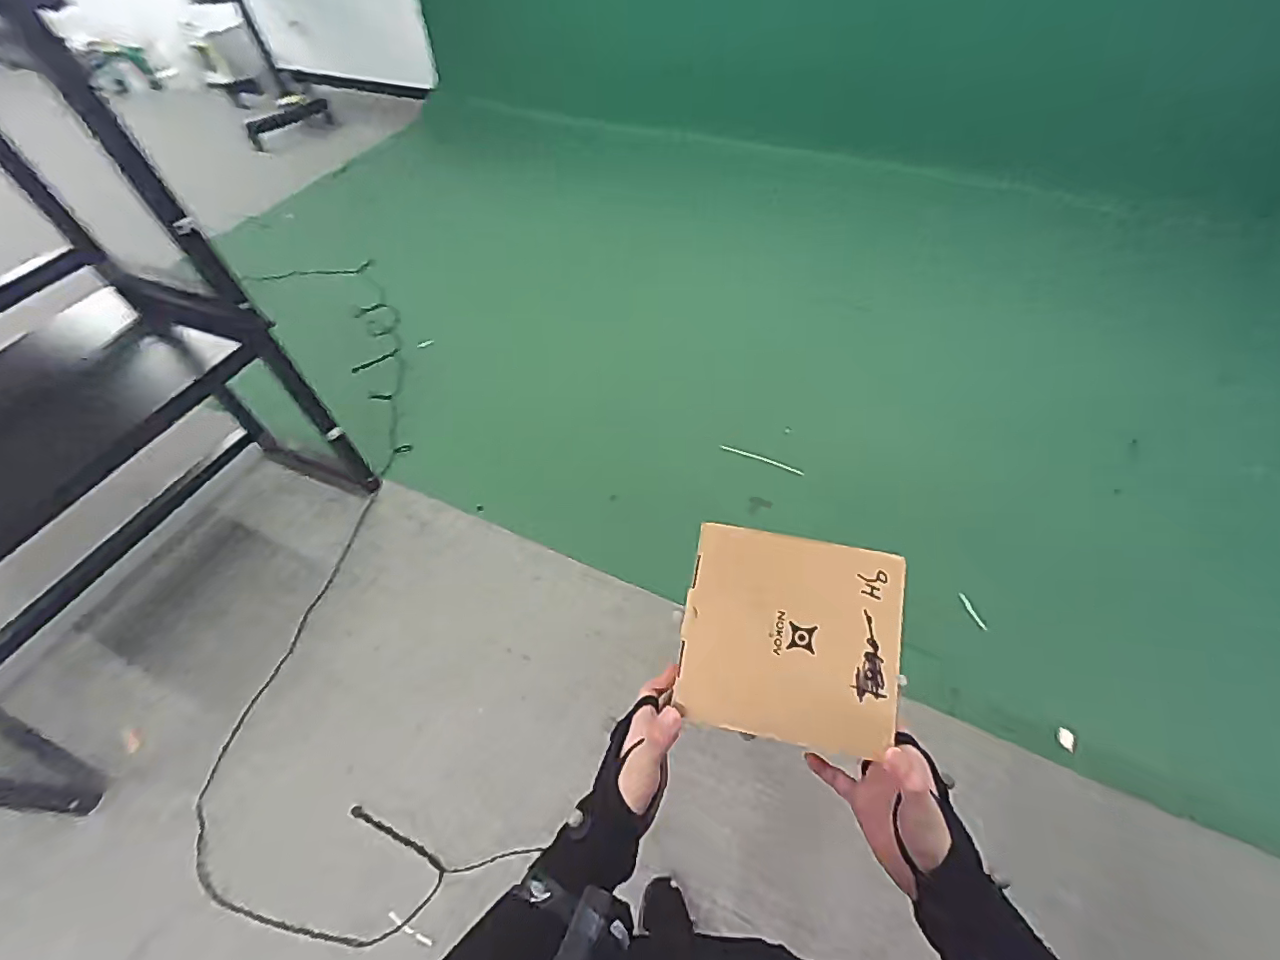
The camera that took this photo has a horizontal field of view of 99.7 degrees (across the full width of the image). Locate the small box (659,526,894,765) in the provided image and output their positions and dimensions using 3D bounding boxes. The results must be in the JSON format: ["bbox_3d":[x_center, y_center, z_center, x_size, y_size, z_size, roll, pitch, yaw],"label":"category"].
[{"bbox_3d":[0.123,0.154,0.524,0.179,0.176,0.168,9,74,8],"label":"small box"}]
